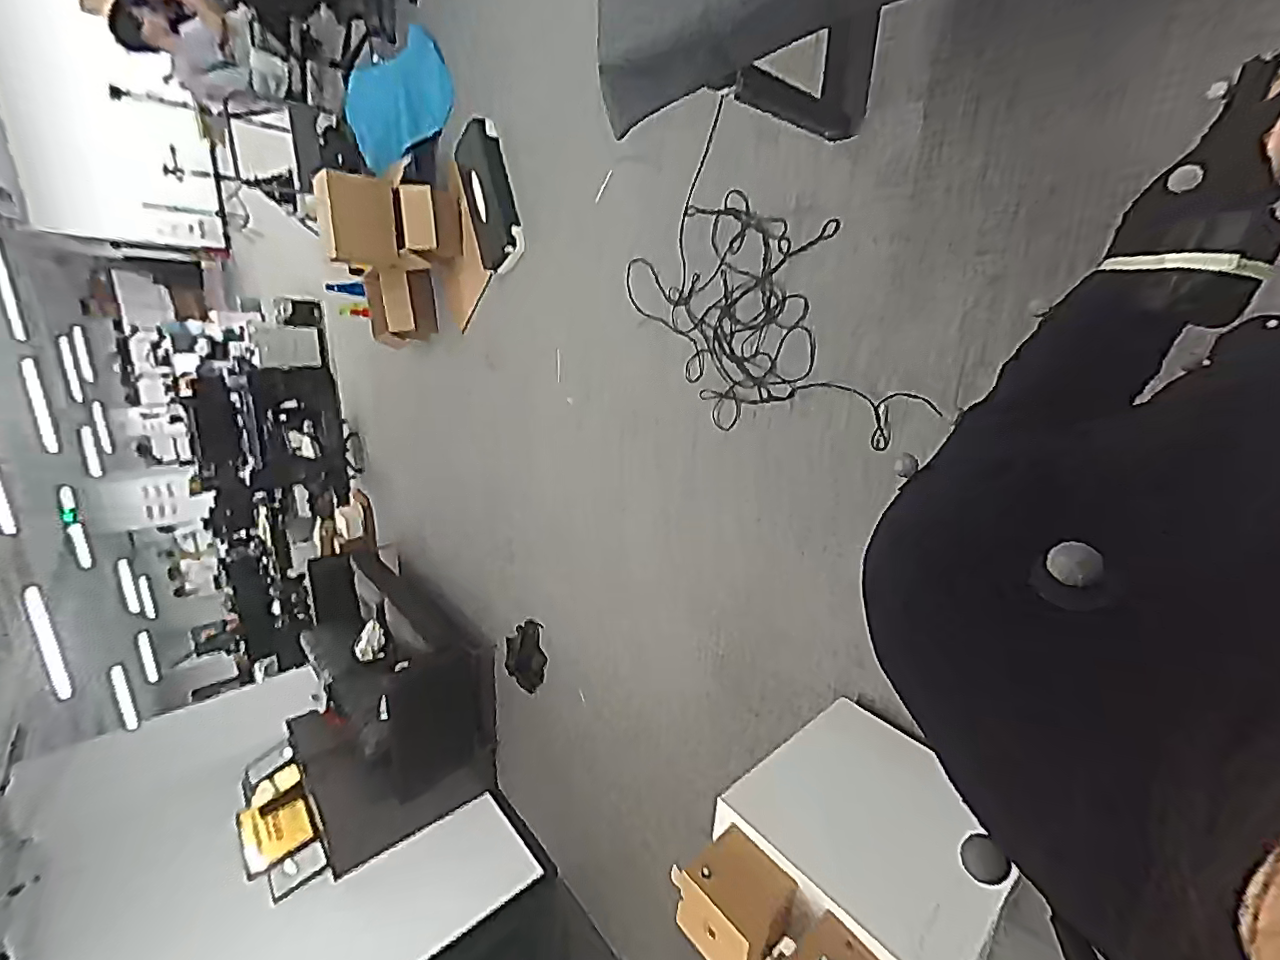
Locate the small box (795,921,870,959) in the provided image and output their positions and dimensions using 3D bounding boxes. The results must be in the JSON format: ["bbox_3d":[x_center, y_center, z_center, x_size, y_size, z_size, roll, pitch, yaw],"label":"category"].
[{"bbox_3d":[0.345,0.949,0.959,0.168,0.176,0.179,29,122,44],"label":"small box"}]
